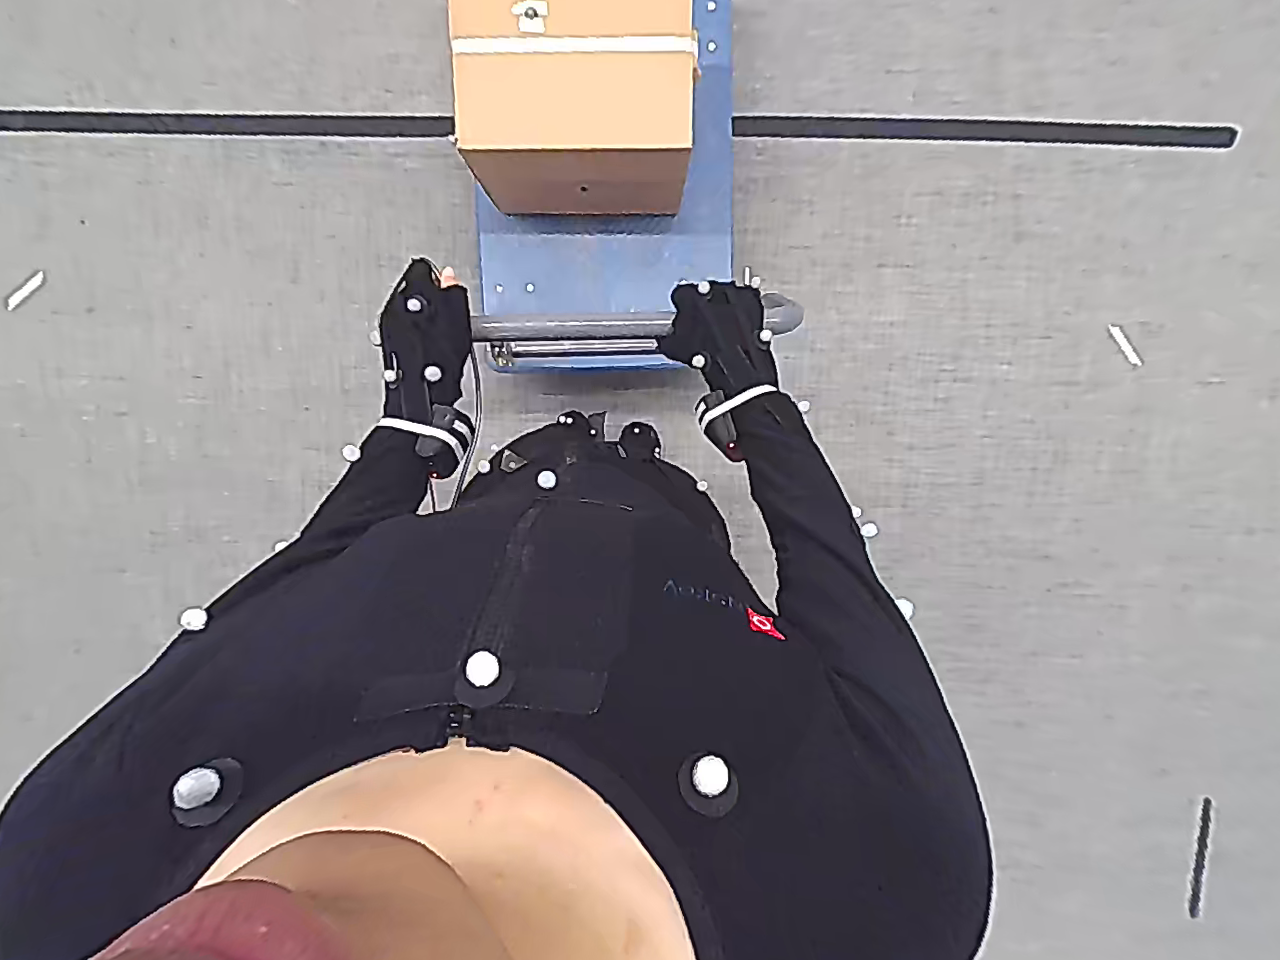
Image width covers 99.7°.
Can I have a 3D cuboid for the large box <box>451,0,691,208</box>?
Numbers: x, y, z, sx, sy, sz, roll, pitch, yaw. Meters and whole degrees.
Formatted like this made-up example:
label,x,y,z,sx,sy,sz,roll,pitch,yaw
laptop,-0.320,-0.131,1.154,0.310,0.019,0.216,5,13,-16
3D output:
label,x,y,z,sx,sy,sz,roll,pitch,yaw
large box,-0.112,-0.744,1.049,0.408,0.320,0.320,0,97,0
